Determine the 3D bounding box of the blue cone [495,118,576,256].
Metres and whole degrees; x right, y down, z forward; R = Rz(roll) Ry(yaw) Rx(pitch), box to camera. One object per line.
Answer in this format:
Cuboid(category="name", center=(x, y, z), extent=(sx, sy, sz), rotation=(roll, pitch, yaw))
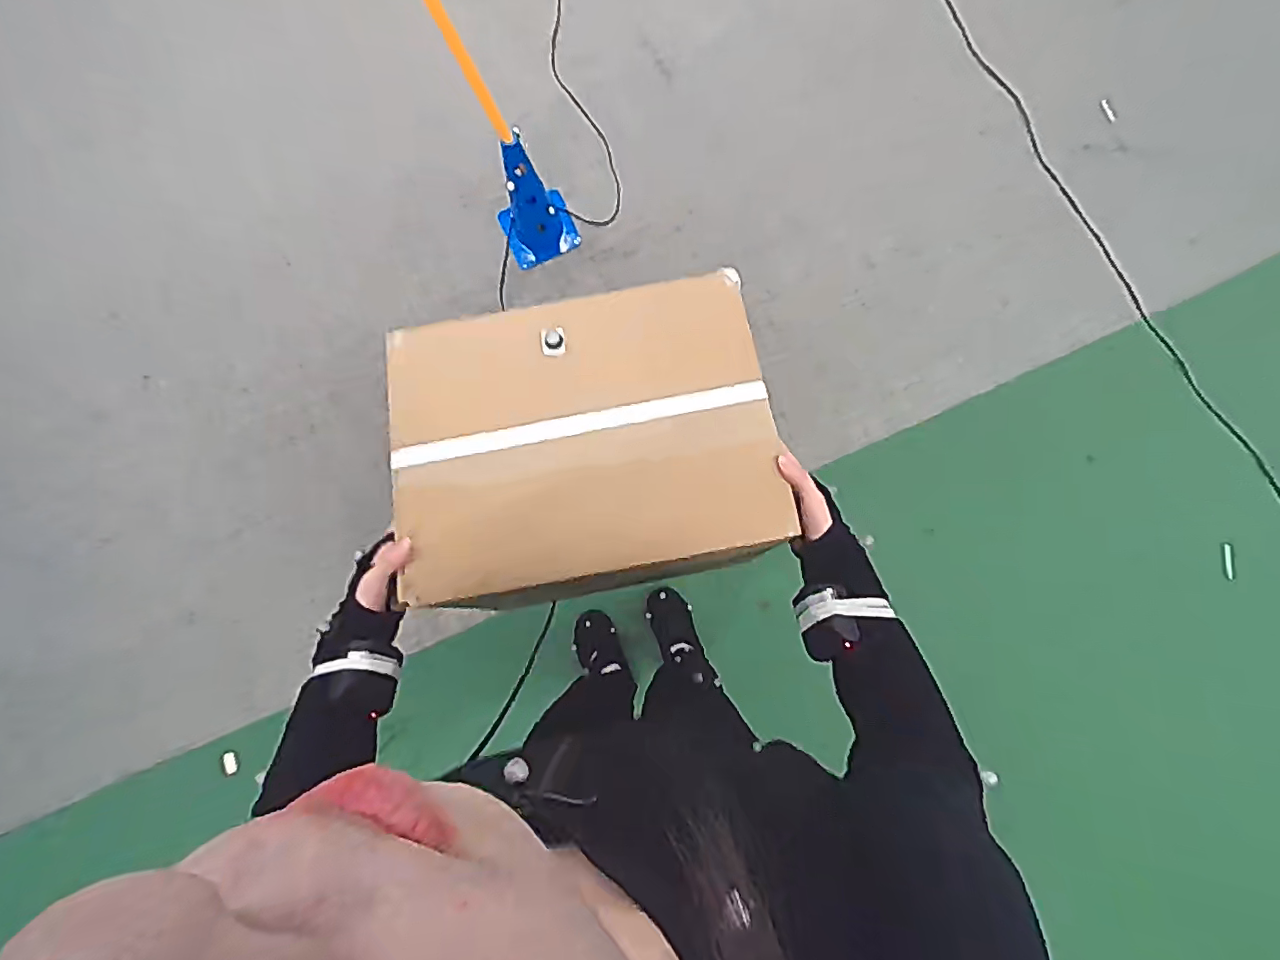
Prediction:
Cuboid(category="blue cone", center=(-0.300, -0.770, 1.399), extent=(0.193, 0.380, 0.192), rotation=(-27, 84, -1))
